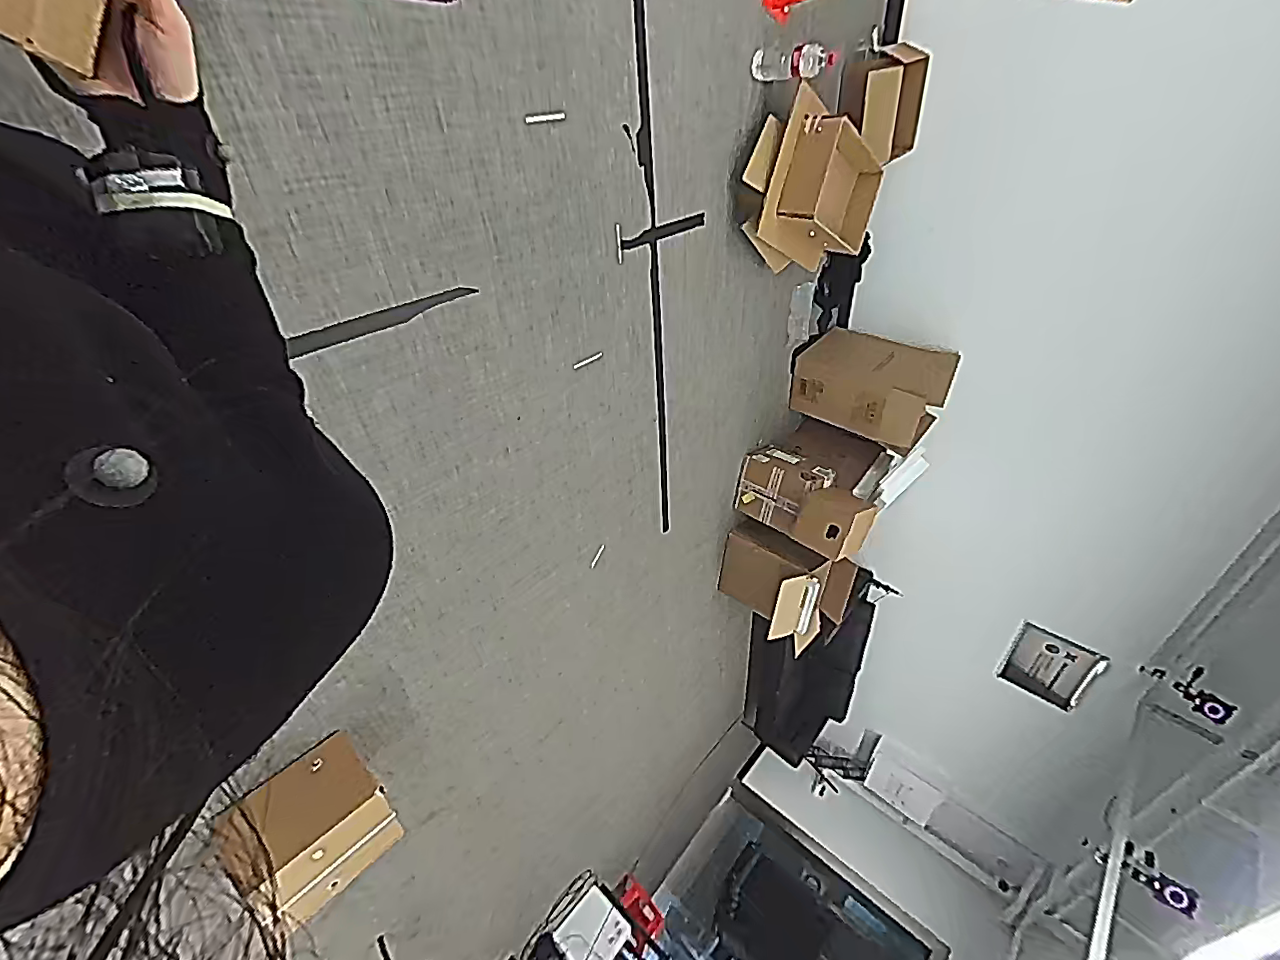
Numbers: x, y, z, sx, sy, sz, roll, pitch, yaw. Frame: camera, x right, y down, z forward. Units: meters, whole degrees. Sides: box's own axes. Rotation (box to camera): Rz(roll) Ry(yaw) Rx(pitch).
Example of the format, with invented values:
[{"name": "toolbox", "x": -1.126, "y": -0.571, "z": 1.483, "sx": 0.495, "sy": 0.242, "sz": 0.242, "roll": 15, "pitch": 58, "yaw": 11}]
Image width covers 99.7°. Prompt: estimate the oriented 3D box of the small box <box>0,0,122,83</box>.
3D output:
[{"name": "small box", "x": -0.328, "y": -0.309, "z": 0.224, "sx": 0.168, "sy": 0.176, "sz": 0.179, "roll": 15, "pitch": 107, "yaw": -43}]
